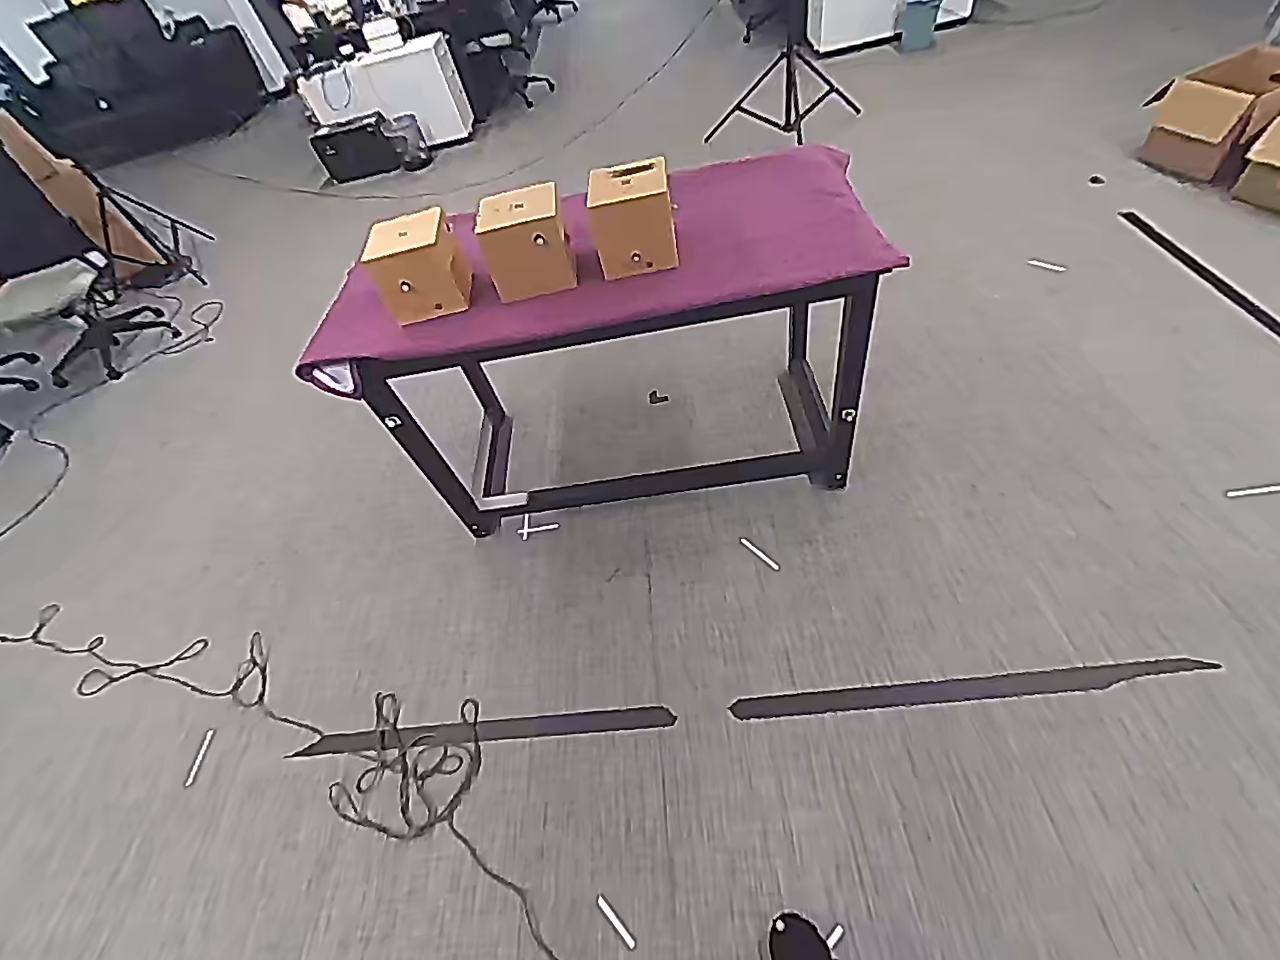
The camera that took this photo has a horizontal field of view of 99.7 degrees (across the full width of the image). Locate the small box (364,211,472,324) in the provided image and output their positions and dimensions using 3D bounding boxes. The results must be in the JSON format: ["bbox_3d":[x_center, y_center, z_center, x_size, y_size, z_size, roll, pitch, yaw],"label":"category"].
[{"bbox_3d":[-0.499,-0.480,1.244,0.168,0.176,0.179,-14,50,2],"label":"small box"}]

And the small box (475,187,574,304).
[{"bbox_3d":[-0.248,-0.522,1.213,0.179,0.176,0.168,-11,49,4],"label":"small box"}]
